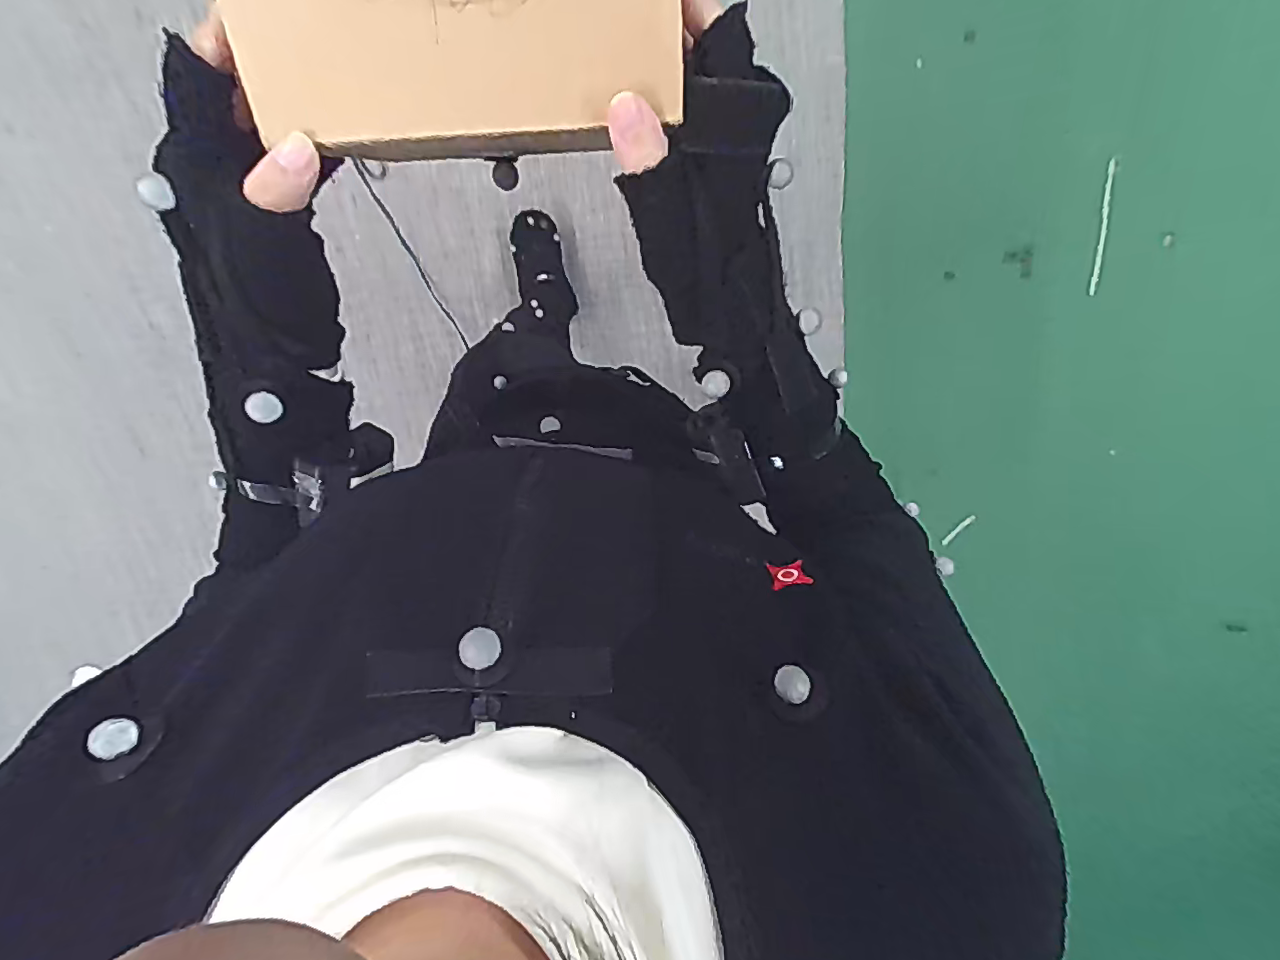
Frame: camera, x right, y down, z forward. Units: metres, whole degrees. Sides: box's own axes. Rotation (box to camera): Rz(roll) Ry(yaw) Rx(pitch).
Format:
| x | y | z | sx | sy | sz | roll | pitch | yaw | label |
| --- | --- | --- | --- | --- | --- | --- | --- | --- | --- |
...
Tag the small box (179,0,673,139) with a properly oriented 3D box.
| x | y | z | sx | sy | sz | roll | pitch | yaw | label |
| --- | --- | --- | --- | --- | --- | --- | --- | --- | --- |
| -0.077 | -0.253 | 0.223 | 0.168 | 0.176 | 0.179 | -4 | 120 | -1 | small box |
